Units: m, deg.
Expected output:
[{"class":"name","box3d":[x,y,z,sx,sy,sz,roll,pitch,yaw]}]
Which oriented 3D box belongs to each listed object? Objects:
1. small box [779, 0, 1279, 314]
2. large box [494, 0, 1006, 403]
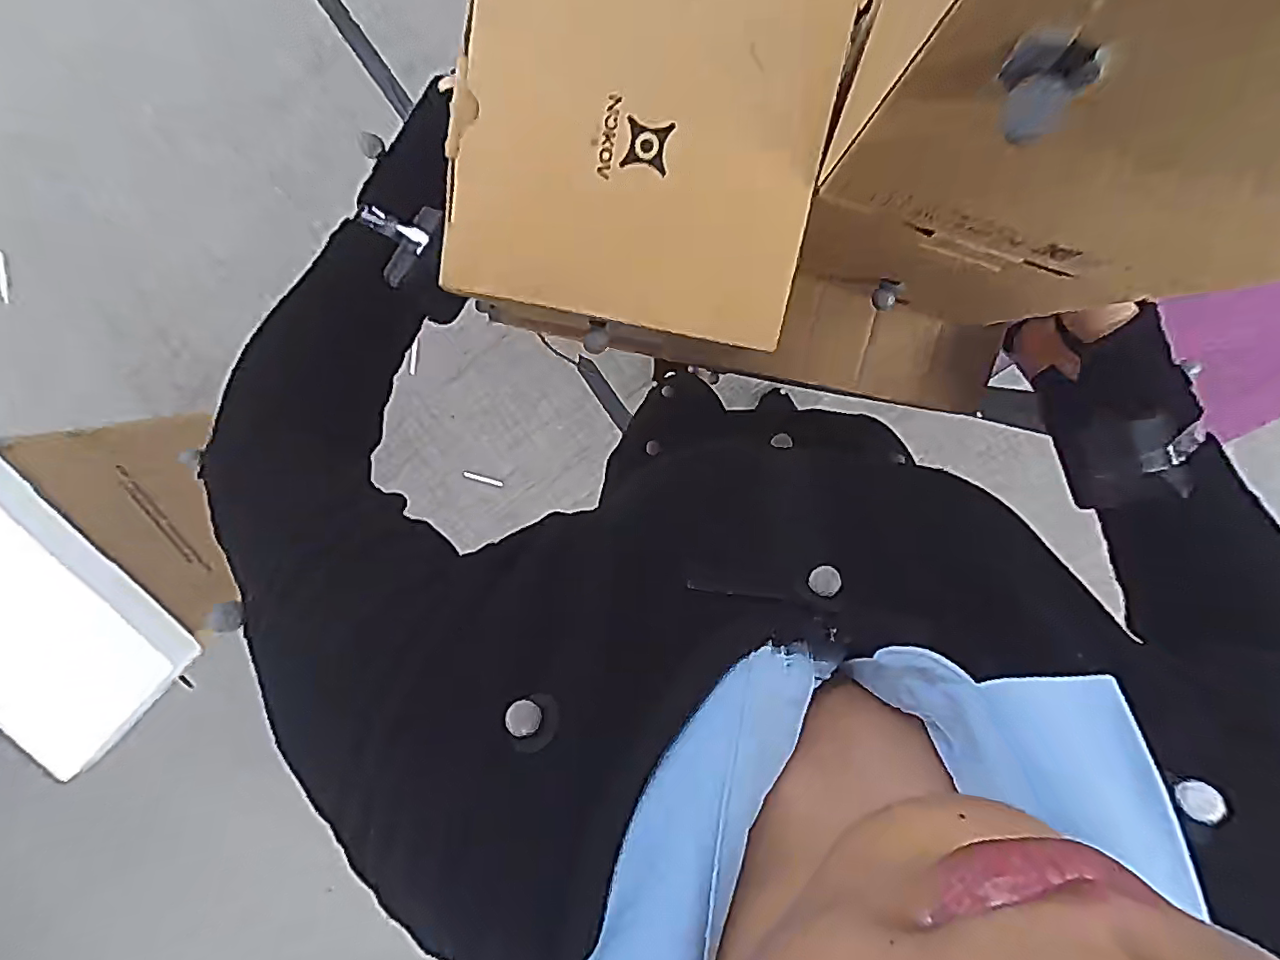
[{"class":"small box","box3d":[0.193,-0.209,0.305,0.168,0.176,0.179,18,102,1]},{"class":"large box","box3d":[0.111,-0.271,0.549,0.408,0.320,0.320,11,101,2]}]
